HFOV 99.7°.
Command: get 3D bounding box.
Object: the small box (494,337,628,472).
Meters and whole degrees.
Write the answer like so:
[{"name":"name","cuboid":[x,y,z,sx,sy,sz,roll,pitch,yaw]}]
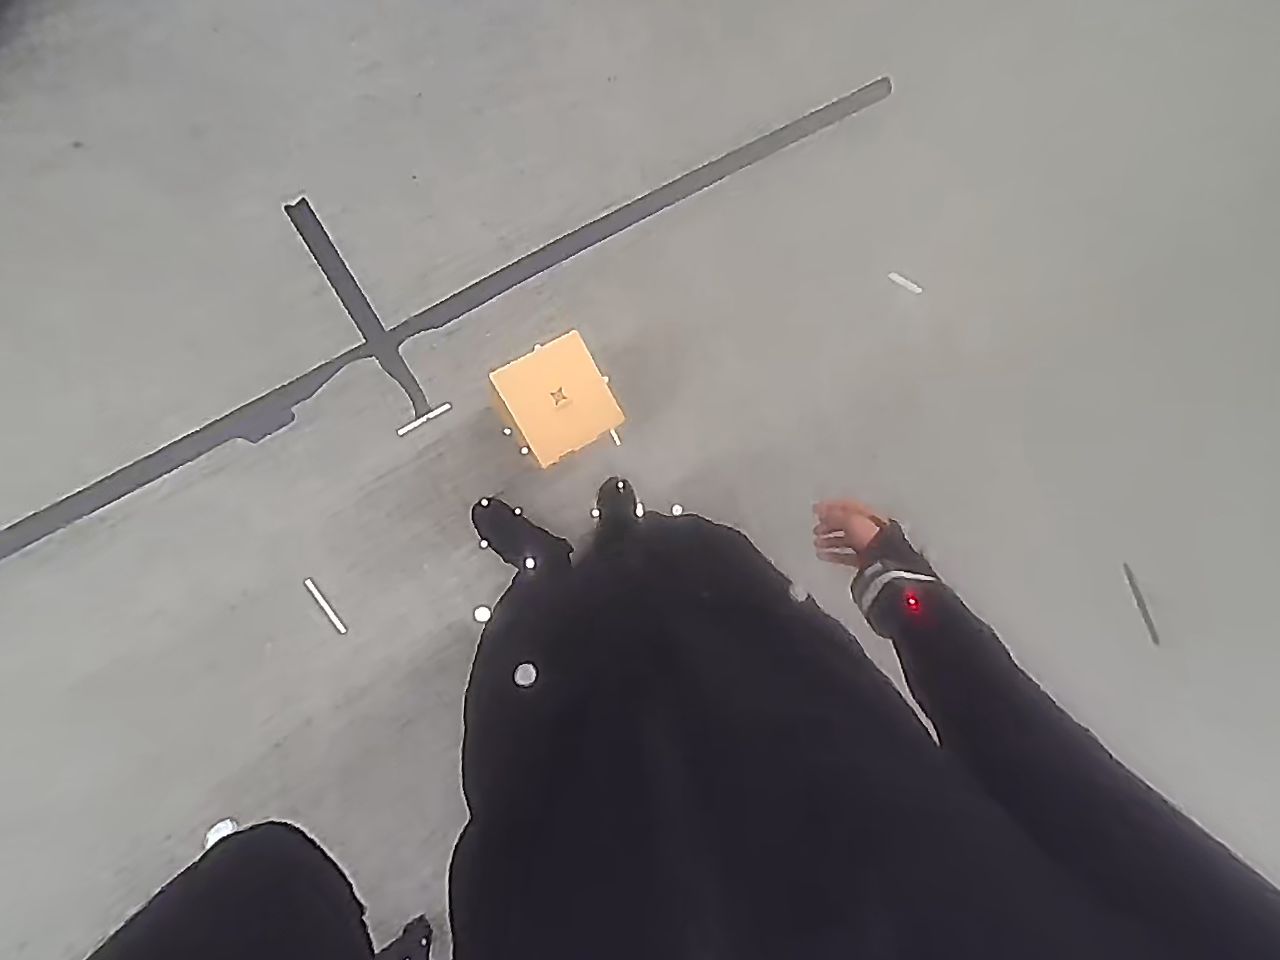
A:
[{"name":"small box","cuboid":[-0.149,-0.128,0.968,0.168,0.176,0.179,-32,101,-12]}]
